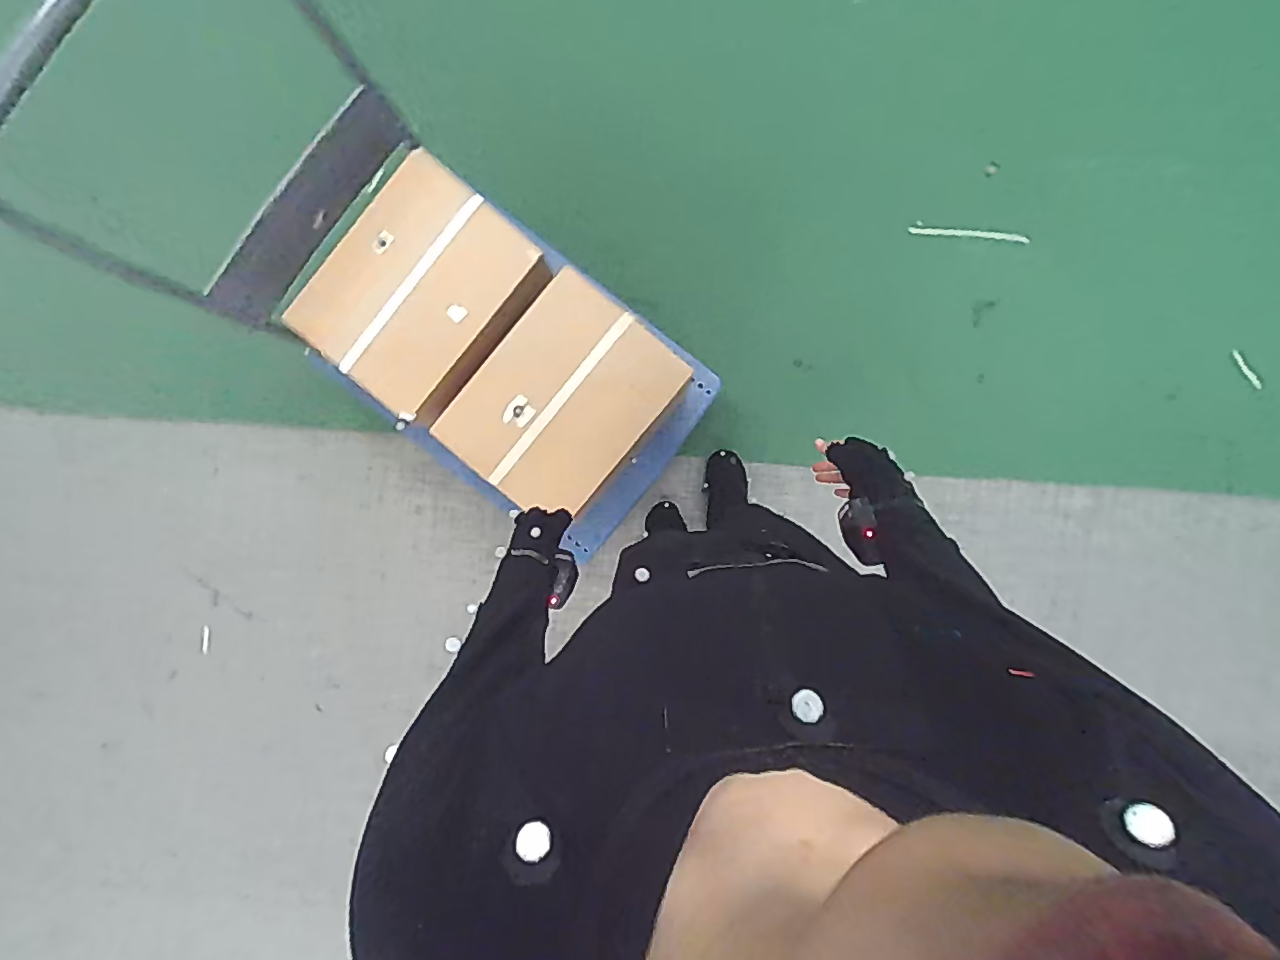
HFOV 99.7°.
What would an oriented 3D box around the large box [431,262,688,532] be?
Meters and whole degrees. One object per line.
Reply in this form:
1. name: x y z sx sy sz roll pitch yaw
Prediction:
1. large box: -0.145 -0.158 1.139 0.320 0.320 0.408 40 93 1
